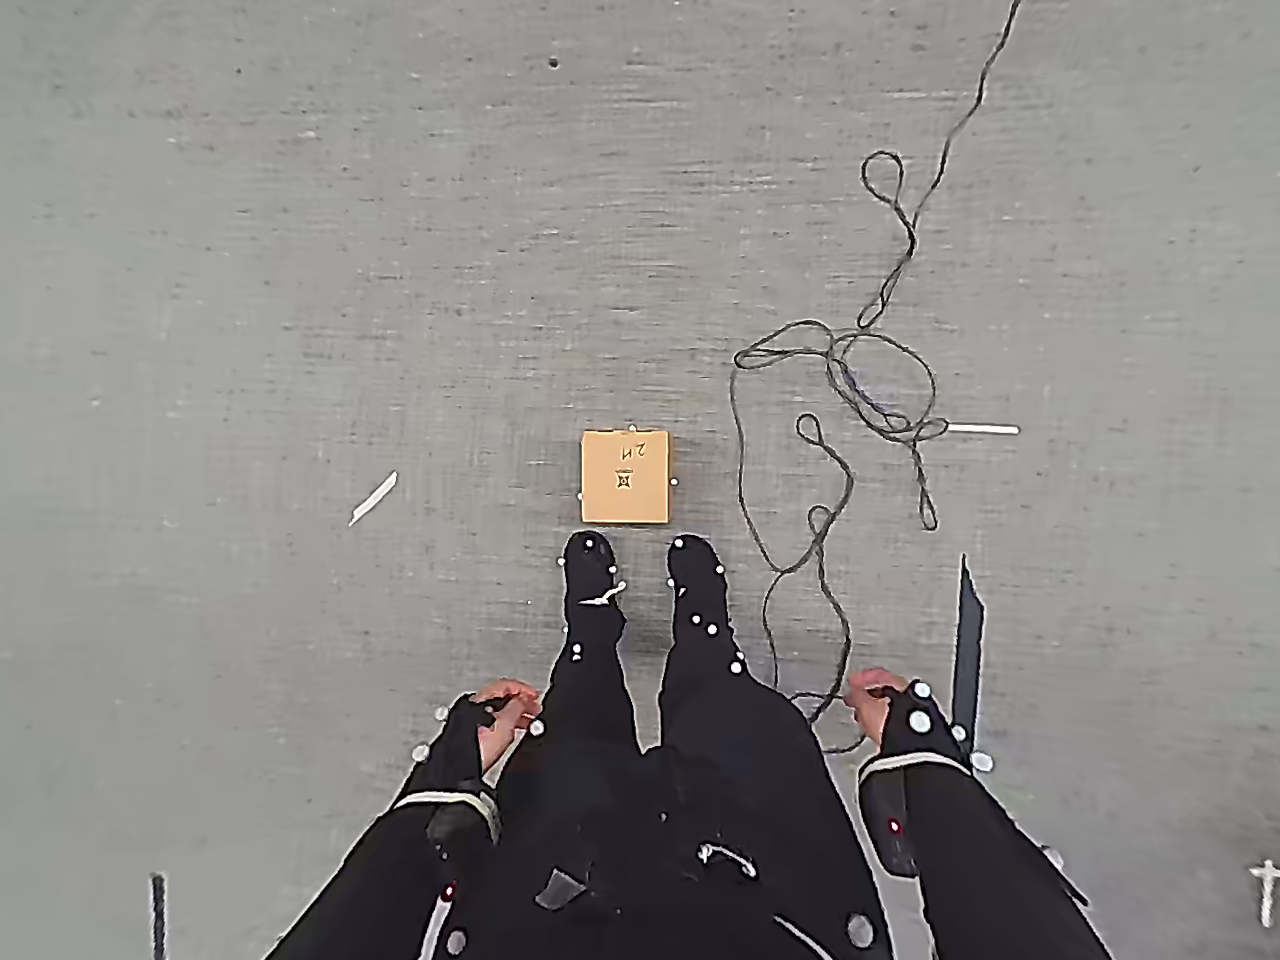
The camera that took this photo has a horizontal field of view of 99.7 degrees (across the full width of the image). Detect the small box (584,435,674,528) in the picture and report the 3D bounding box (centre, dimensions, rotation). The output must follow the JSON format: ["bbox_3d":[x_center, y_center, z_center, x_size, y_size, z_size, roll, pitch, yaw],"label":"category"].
[{"bbox_3d":[-0.016,-0.001,1.100,0.168,0.176,0.179,0,92,6],"label":"small box"}]
